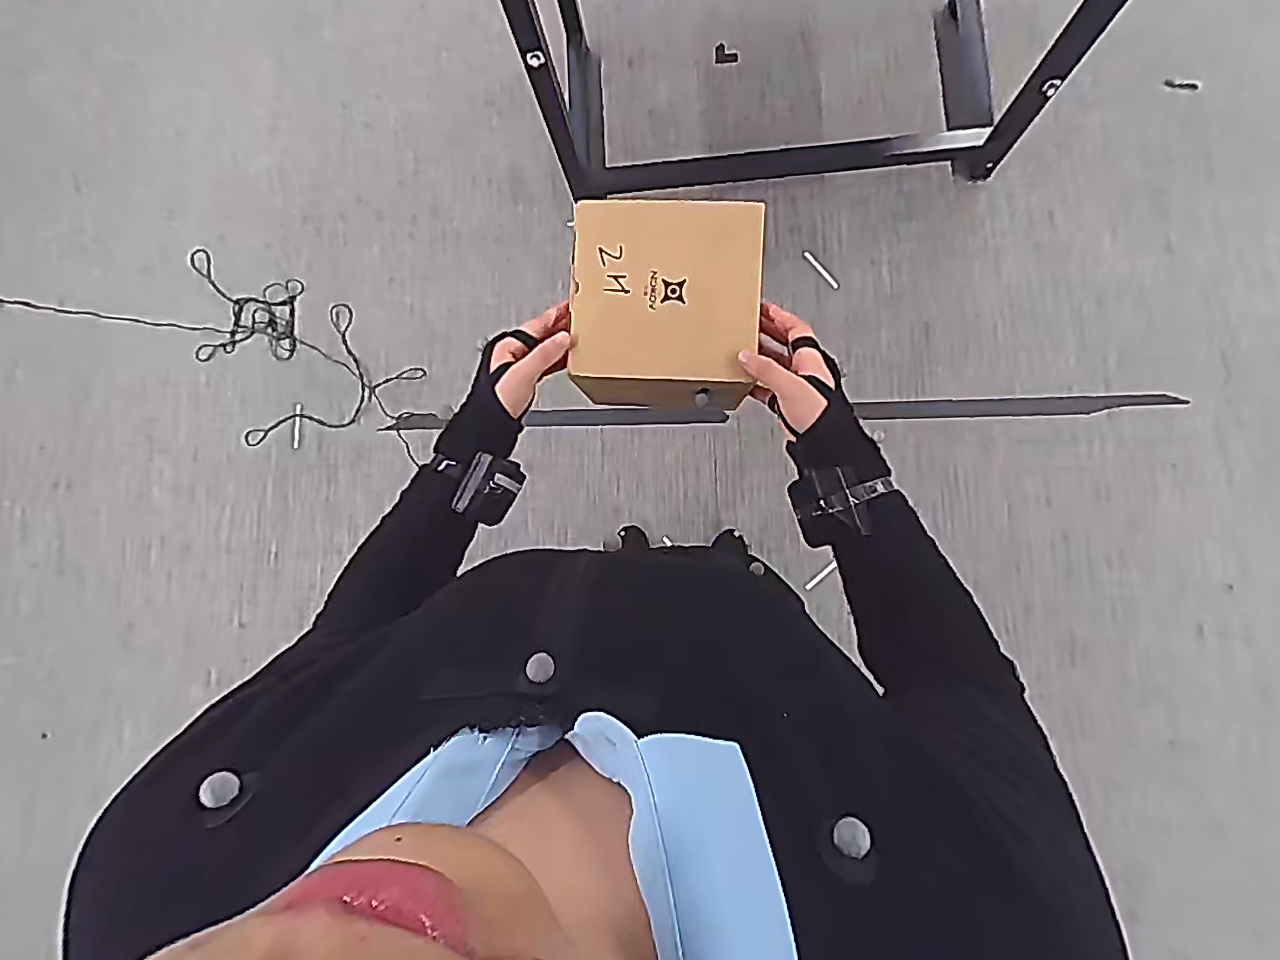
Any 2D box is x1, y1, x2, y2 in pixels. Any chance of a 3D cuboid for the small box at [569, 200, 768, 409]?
[{"bbox_3d":[0.031,-0.171,0.574,0.179,0.176,0.168,3,89,5],"label":"small box"}]
